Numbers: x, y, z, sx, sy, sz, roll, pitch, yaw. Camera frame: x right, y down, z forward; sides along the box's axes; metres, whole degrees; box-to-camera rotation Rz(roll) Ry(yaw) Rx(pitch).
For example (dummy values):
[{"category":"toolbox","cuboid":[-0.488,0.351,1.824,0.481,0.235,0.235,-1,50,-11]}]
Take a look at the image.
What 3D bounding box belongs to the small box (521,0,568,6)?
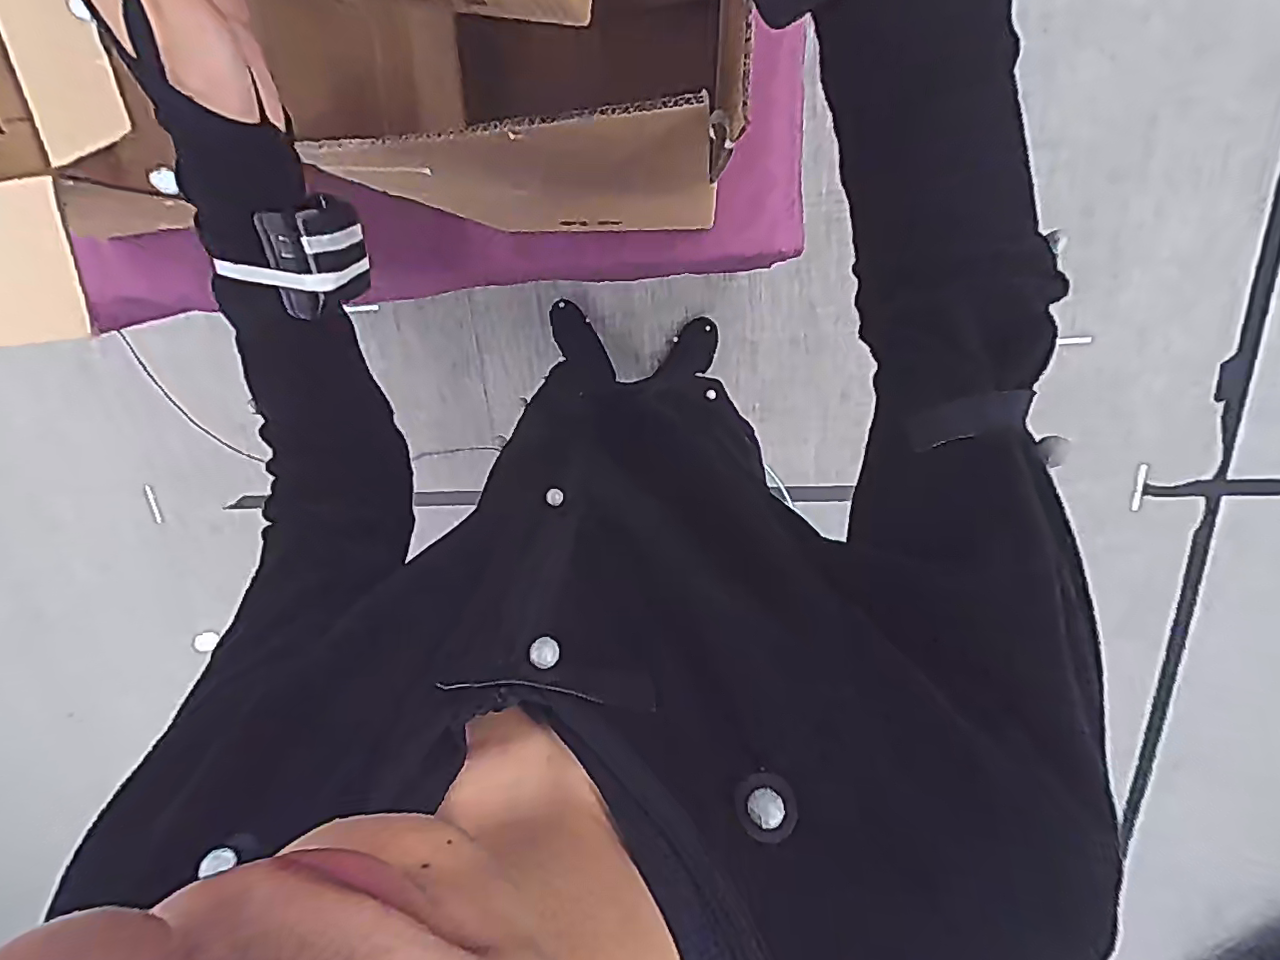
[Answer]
[{"category":"small box","cuboid":[-0.110,-0.334,0.212,0.168,0.176,0.179,14,111,8]}]
